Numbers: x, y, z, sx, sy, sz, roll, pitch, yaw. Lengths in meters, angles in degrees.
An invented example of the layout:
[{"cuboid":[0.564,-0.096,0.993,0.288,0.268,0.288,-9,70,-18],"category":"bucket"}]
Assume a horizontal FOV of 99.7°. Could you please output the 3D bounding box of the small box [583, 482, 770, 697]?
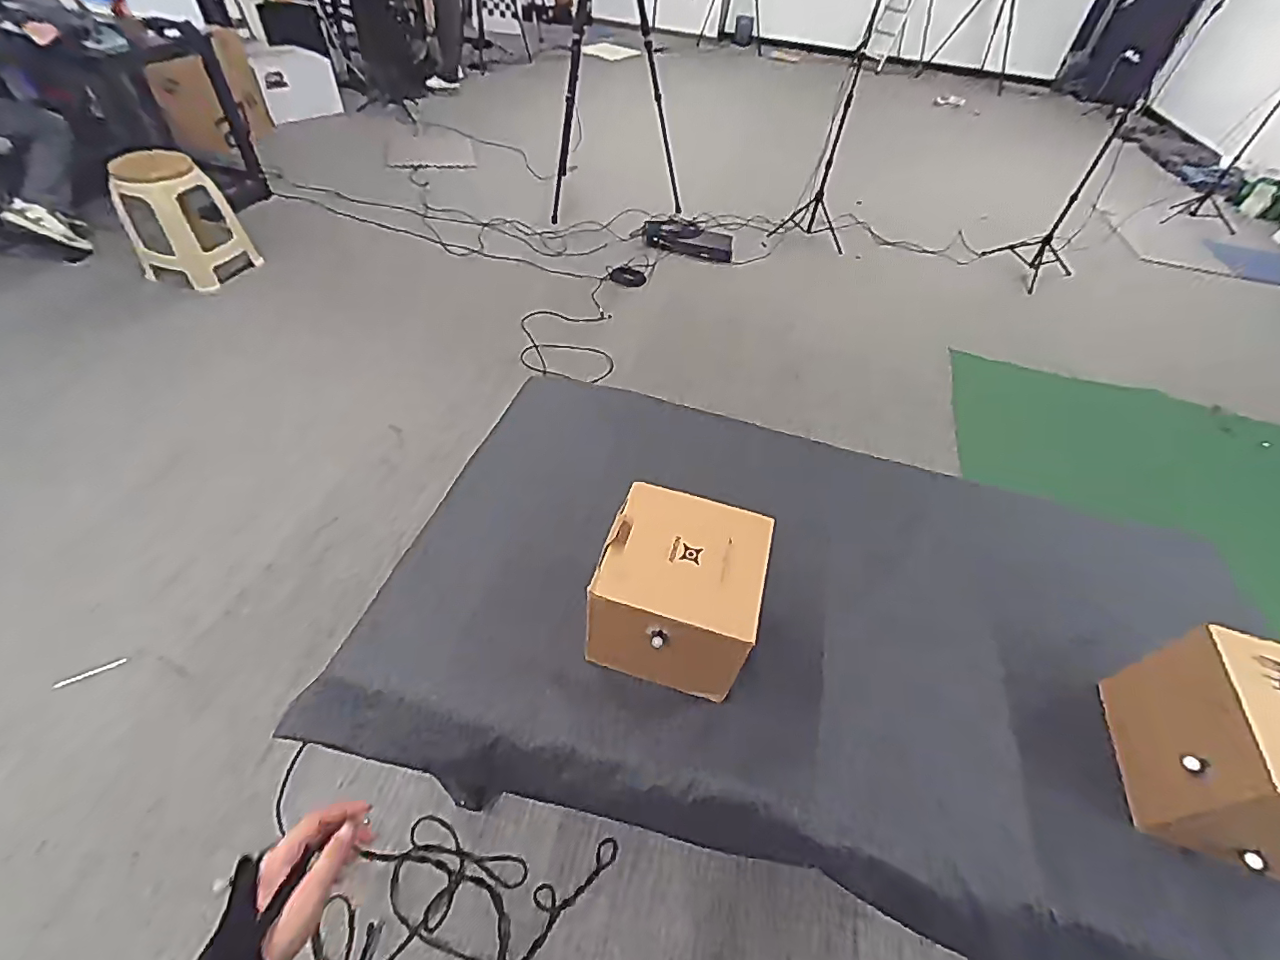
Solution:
[{"cuboid":[0.039,0.133,0.645,0.179,0.176,0.168,16,49,7],"category":"small box"}]
